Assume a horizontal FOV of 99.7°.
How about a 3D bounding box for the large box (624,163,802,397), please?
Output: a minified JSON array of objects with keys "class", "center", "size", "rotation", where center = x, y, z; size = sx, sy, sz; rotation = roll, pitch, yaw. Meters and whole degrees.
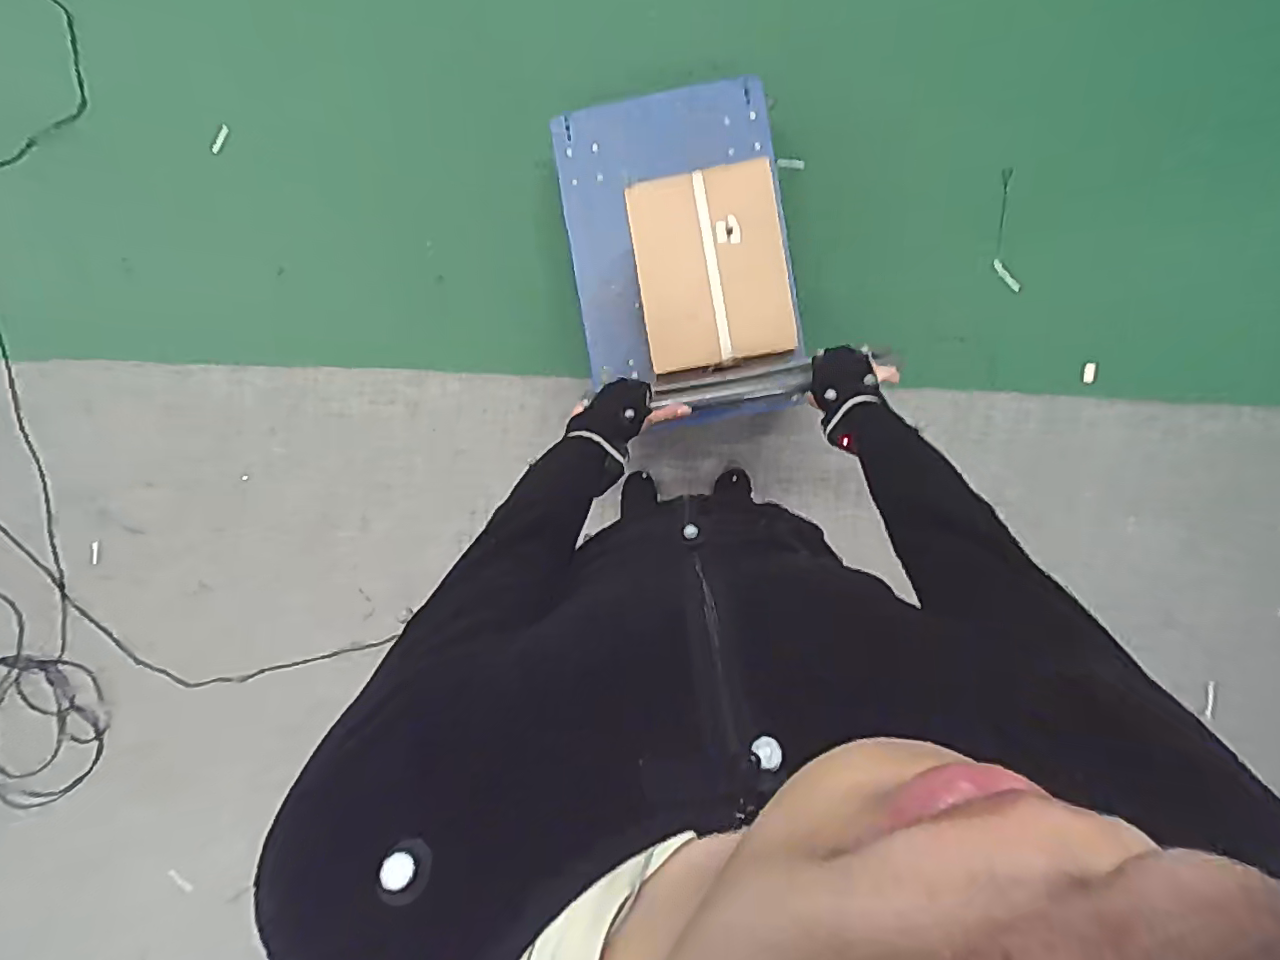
[{"class":"large box","center":[0.162,-0.439,1.278],"size":[0.320,0.320,0.408],"rotation":[-10,90,3]}]
